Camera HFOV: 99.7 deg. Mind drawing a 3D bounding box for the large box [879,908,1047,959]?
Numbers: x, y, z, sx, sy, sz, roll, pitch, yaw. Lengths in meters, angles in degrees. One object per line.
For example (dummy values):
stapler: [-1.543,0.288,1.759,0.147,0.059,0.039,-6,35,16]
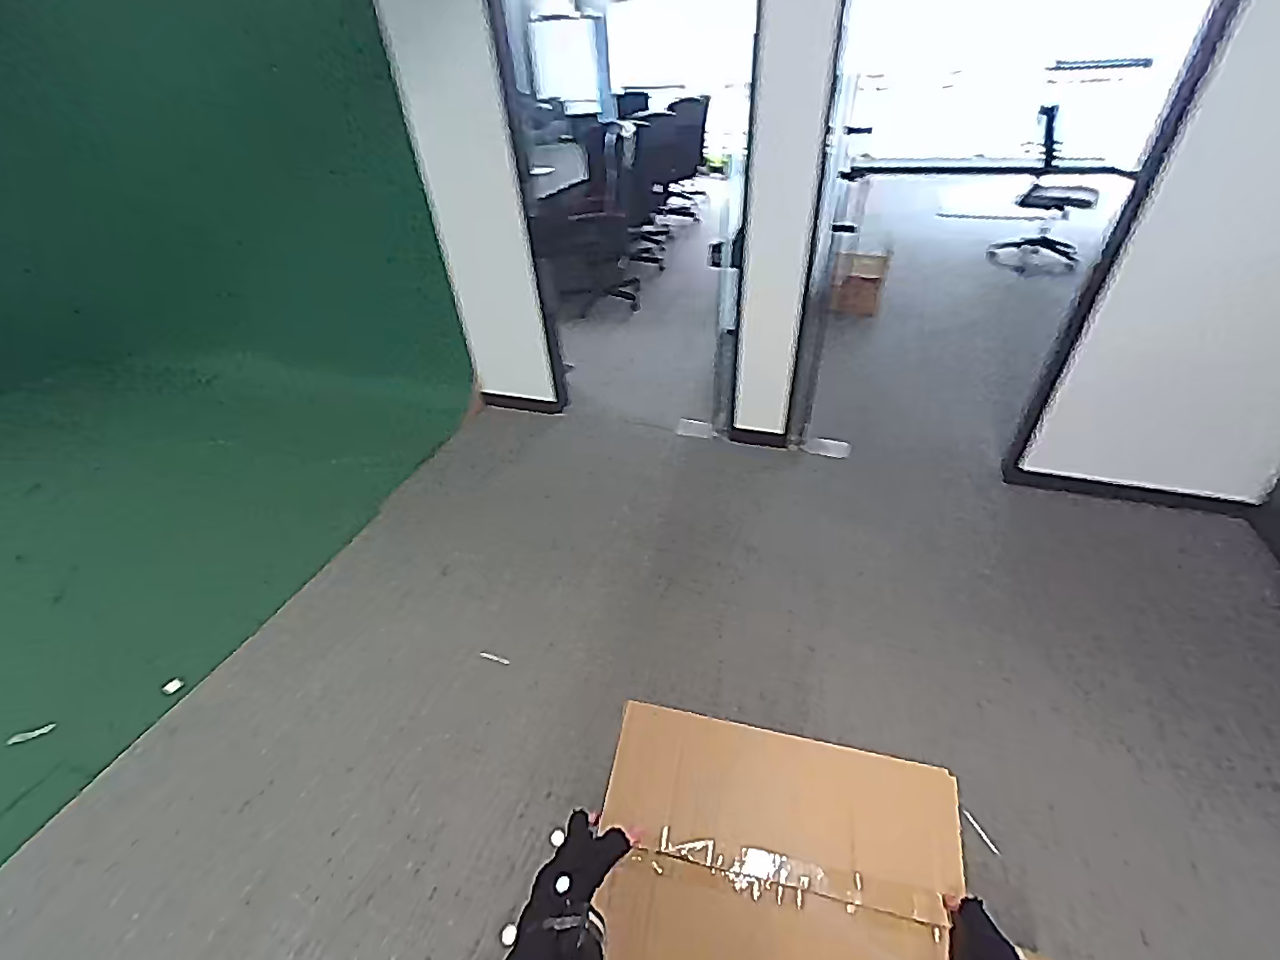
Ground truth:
large box: [0.572,1.033,0.874,0.320,0.320,0.408,12,40,18]
